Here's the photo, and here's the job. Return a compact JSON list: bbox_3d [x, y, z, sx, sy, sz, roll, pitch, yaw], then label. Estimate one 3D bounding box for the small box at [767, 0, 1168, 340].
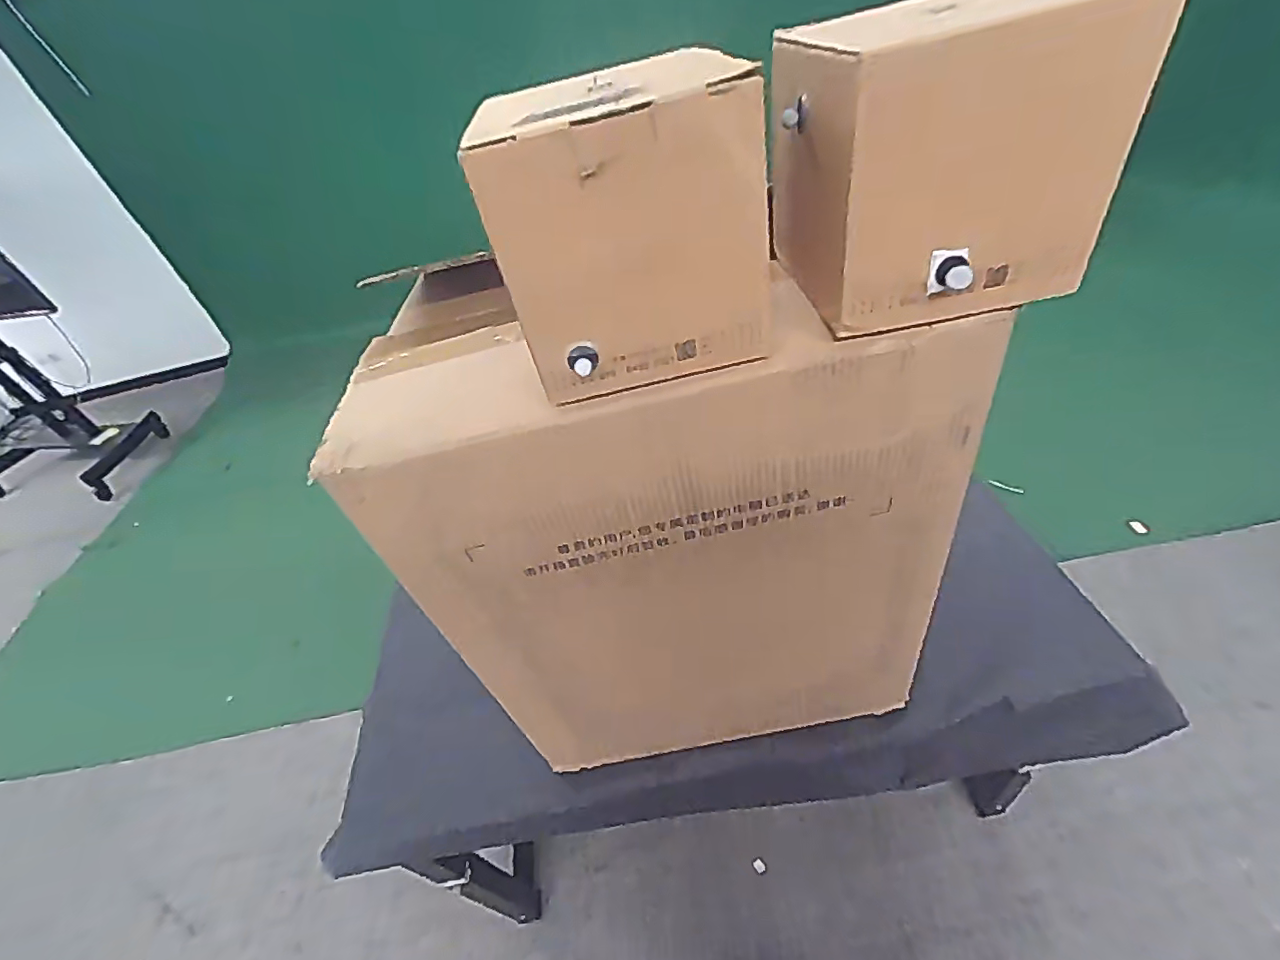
[{"bbox_3d":[0.196,-0.227,0.393,0.168,0.176,0.179,-13,43,3],"label":"small box"}]
